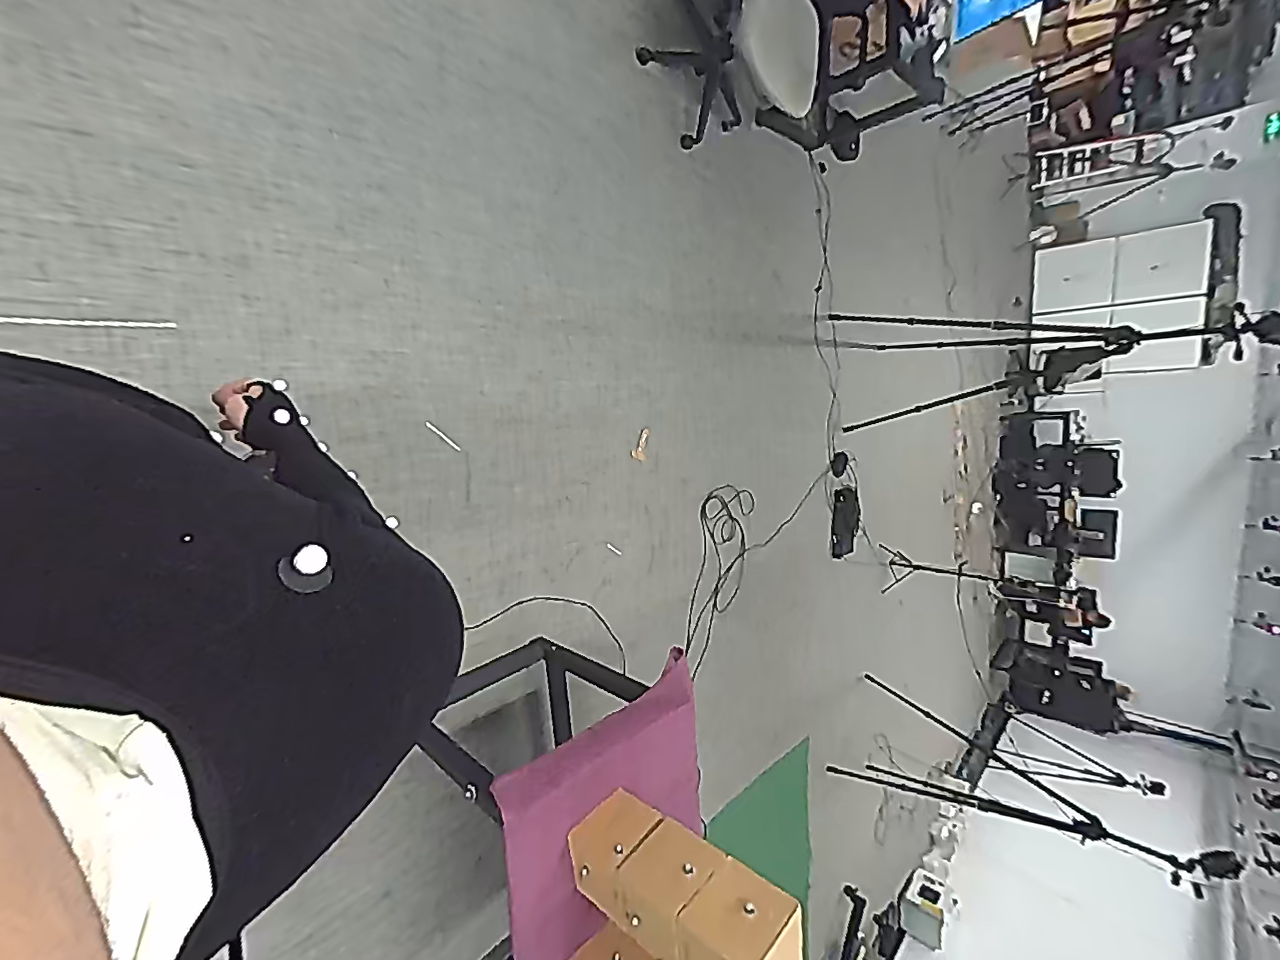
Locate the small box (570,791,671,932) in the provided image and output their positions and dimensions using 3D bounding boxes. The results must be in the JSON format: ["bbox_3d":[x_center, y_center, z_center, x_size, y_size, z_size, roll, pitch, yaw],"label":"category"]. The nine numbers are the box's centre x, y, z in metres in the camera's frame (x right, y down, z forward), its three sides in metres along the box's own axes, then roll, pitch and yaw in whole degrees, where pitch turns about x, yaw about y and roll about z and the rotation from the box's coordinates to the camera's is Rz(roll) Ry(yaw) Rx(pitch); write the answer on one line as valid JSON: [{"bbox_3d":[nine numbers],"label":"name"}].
[{"bbox_3d":[-0.038,0.877,1.266,0.179,0.176,0.168,-19,107,-42],"label":"small box"}]

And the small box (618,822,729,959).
[{"bbox_3d":[0.078,0.881,1.149,0.179,0.176,0.168,-20,108,-42],"label":"small box"}]

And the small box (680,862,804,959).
[{"bbox_3d":[0.196,0.892,1.036,0.179,0.176,0.168,-18,106,-44],"label":"small box"}]
